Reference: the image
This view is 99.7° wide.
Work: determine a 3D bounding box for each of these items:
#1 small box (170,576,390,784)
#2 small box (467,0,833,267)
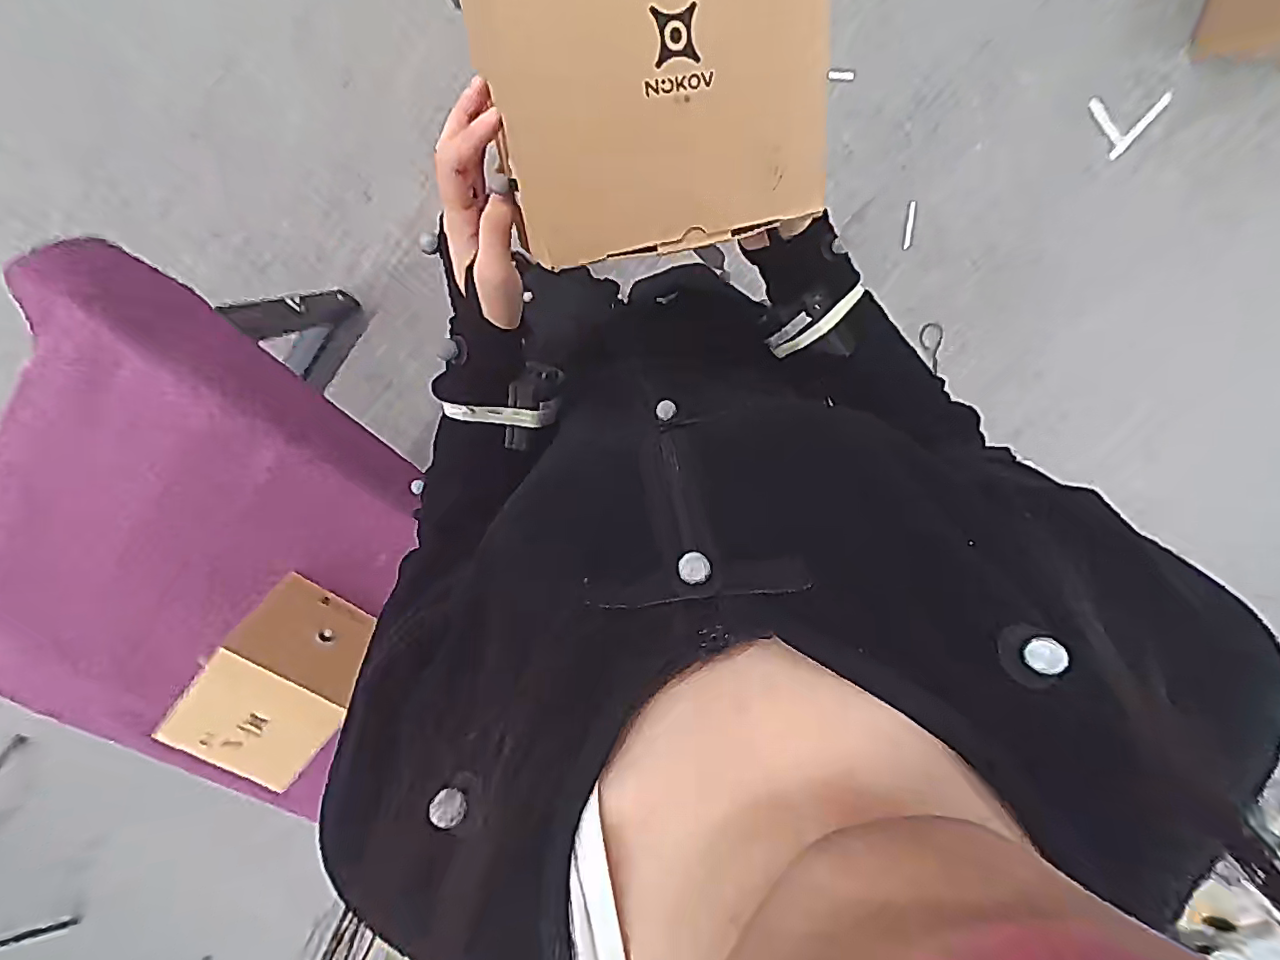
[{"bbox_3d":[-0.476,0.267,0.749,0.168,0.176,0.179,38,105,-17],"label":"small box"},{"bbox_3d":[-0.003,-0.244,0.327,0.168,0.176,0.179,-16,121,-11],"label":"small box"}]
